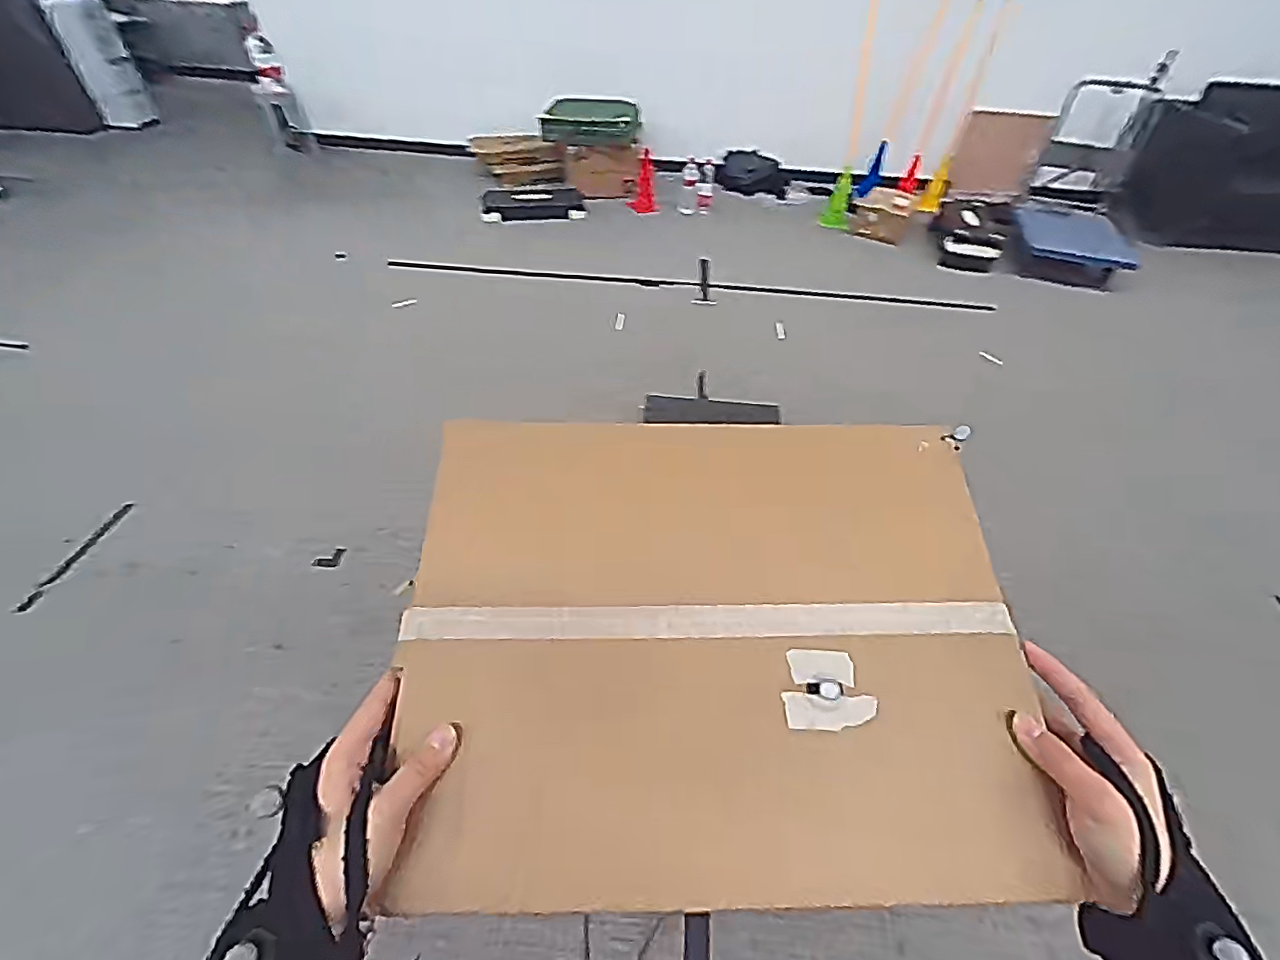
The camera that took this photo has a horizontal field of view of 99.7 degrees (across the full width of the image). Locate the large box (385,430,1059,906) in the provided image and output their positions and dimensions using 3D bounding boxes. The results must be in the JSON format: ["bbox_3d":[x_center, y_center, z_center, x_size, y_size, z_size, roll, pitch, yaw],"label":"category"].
[{"bbox_3d":[0.042,0.164,0.509,0.408,0.320,0.320,0,64,-2],"label":"large box"}]
